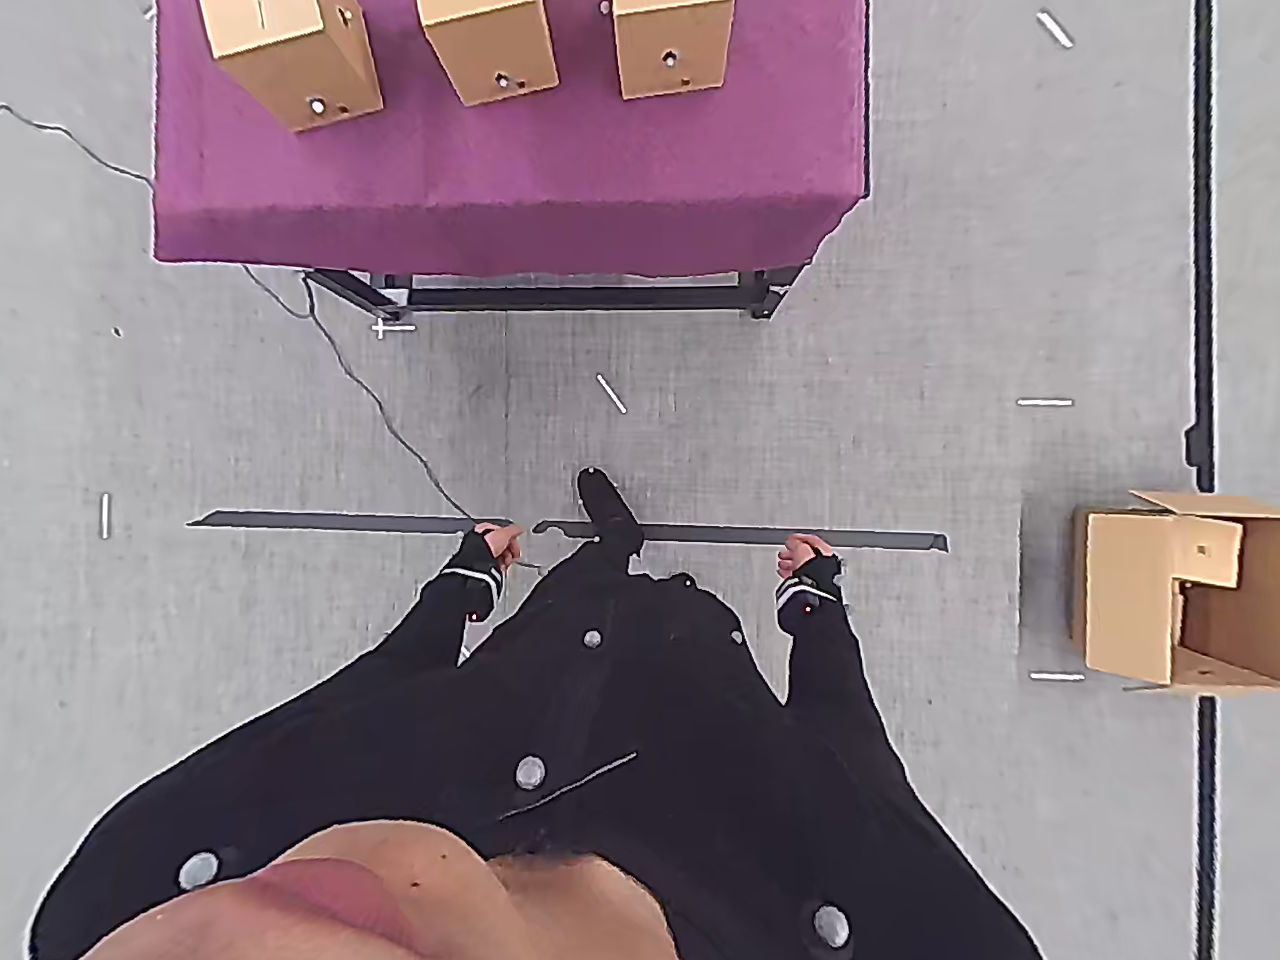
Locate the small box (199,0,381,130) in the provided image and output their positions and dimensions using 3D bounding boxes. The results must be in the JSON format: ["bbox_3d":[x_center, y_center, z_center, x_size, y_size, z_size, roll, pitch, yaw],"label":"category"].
[{"bbox_3d":[-0.531,-0.687,0.828,0.168,0.176,0.179,-13,90,3],"label":"small box"}]

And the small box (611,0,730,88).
[{"bbox_3d":[0.041,-0.721,0.800,0.168,0.176,0.179,-6,90,2],"label":"small box"}]
